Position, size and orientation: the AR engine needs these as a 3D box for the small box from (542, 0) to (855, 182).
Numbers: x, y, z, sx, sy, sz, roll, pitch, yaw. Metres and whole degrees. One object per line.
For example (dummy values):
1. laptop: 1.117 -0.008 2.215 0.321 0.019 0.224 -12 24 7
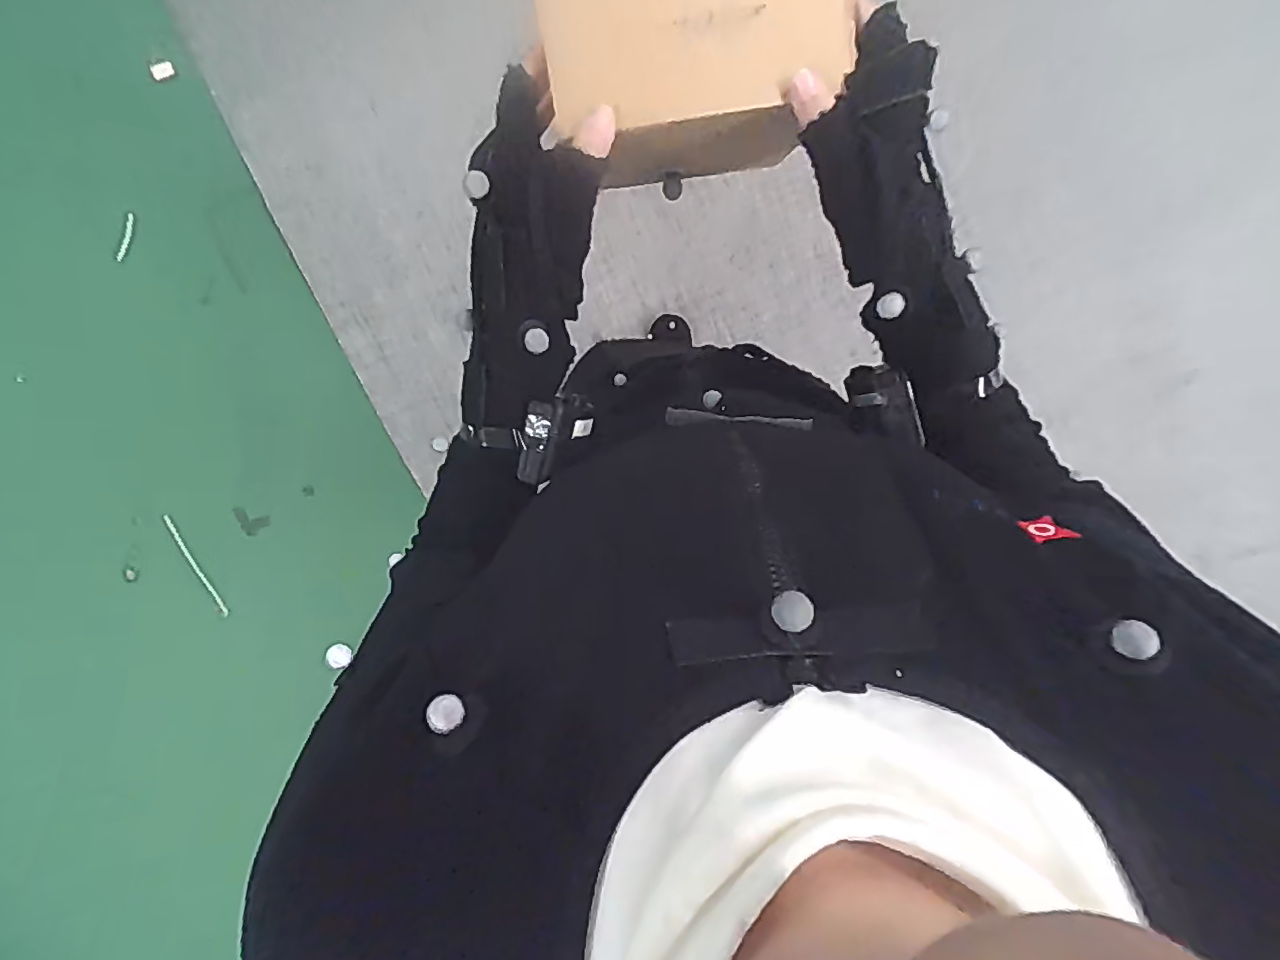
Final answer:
1. small box: 0.025 -0.314 0.345 0.168 0.176 0.179 -7 108 3
